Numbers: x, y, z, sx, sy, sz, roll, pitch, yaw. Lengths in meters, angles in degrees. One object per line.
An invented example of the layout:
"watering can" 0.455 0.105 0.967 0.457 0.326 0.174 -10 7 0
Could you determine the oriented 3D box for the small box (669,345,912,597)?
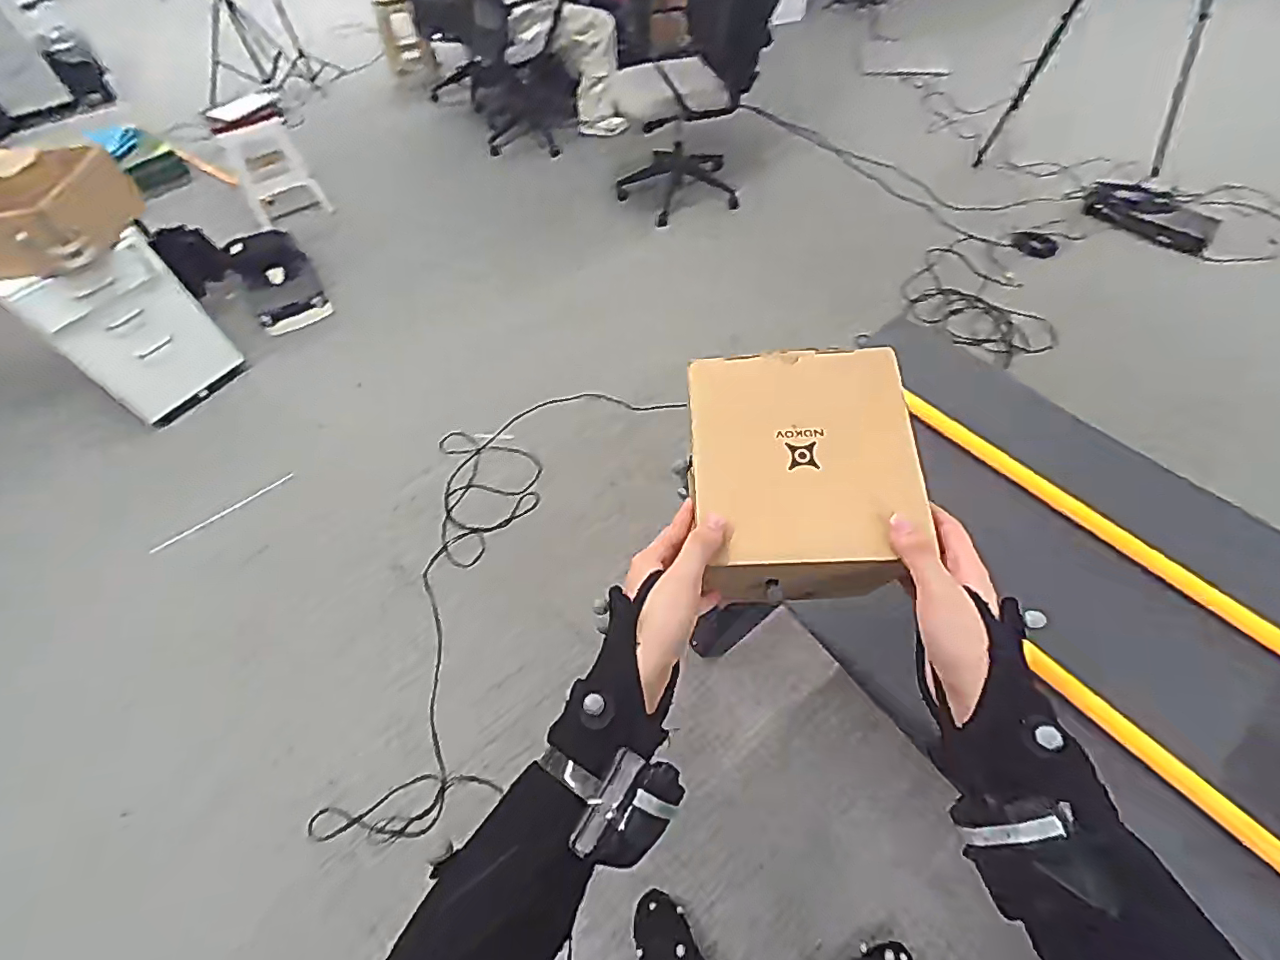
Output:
"small box" 0.115 0.006 0.486 0.168 0.176 0.179 -4 67 4
